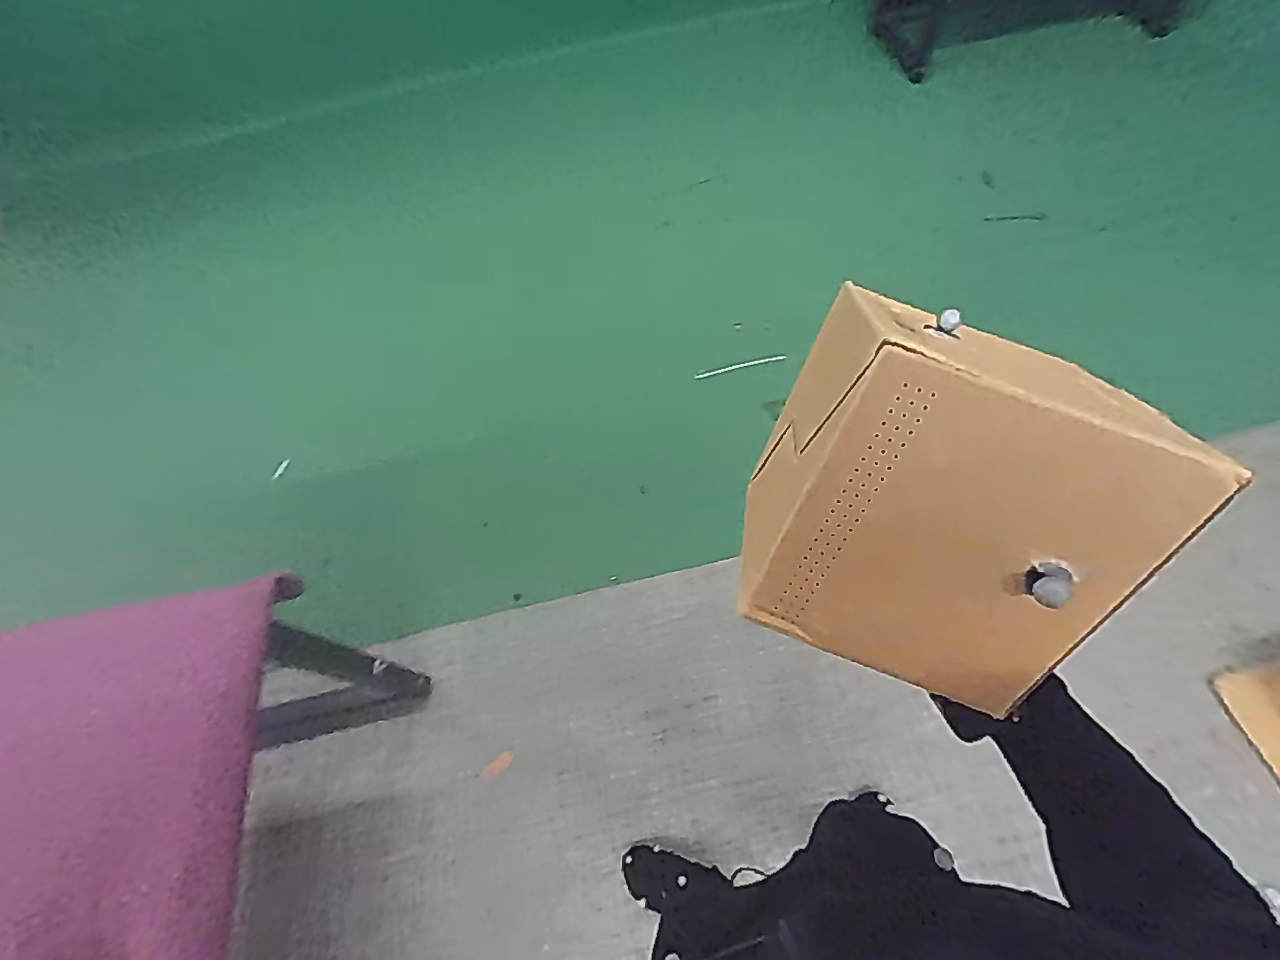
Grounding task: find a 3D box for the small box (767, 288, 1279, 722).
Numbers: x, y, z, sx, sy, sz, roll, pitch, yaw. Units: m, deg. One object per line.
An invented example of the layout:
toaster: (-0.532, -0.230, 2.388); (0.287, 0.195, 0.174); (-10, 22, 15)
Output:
small box: (0.186, 0.004, 0.336); (0.176, 0.179, 0.168); (21, 31, 4)
